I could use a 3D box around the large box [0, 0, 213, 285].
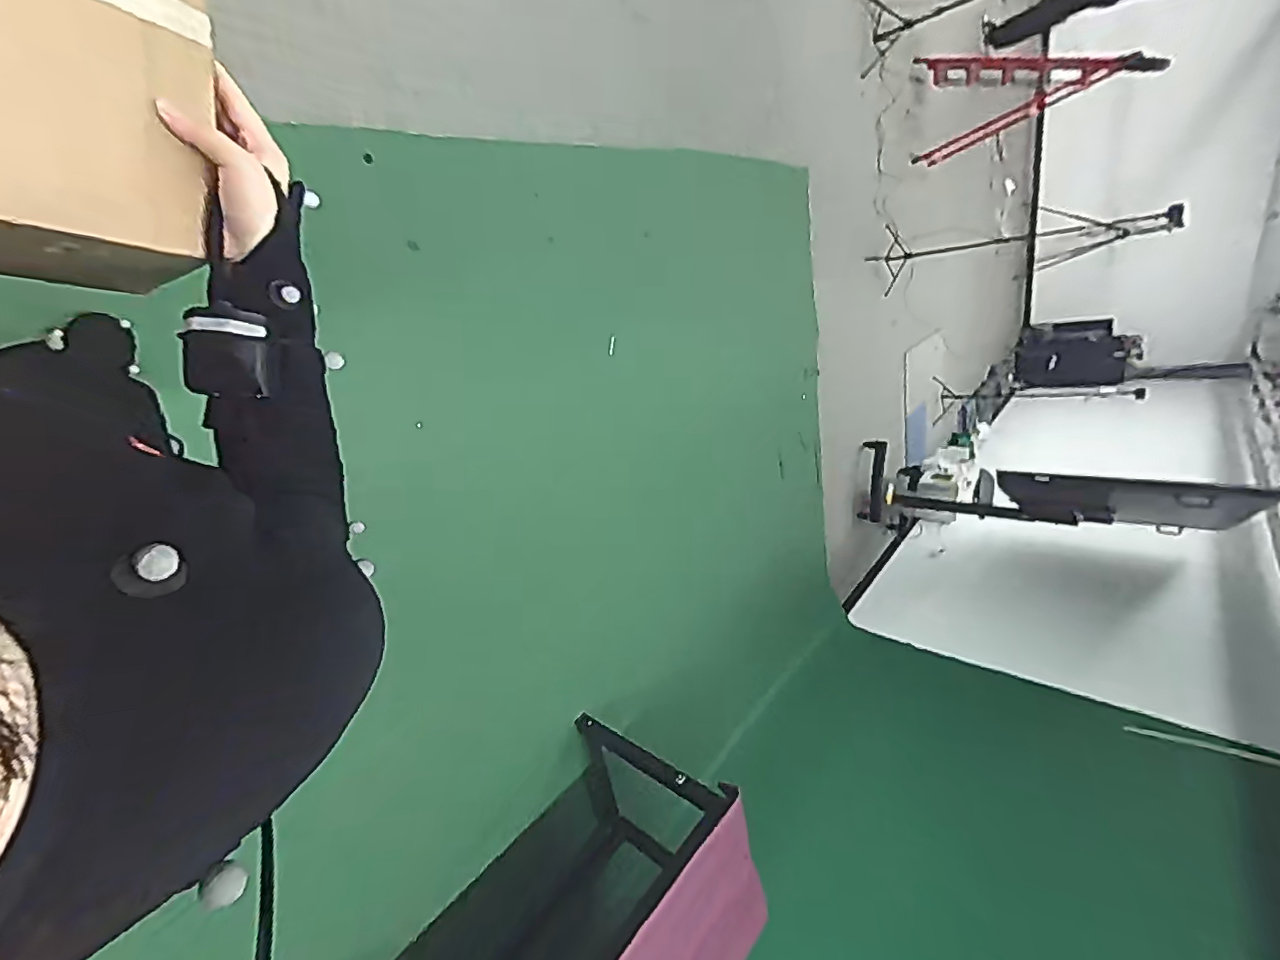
[{"bbox_3d":[-0.563,-0.326,0.332,0.408,0.320,0.320,-7,104,-50],"label":"large box"}]
